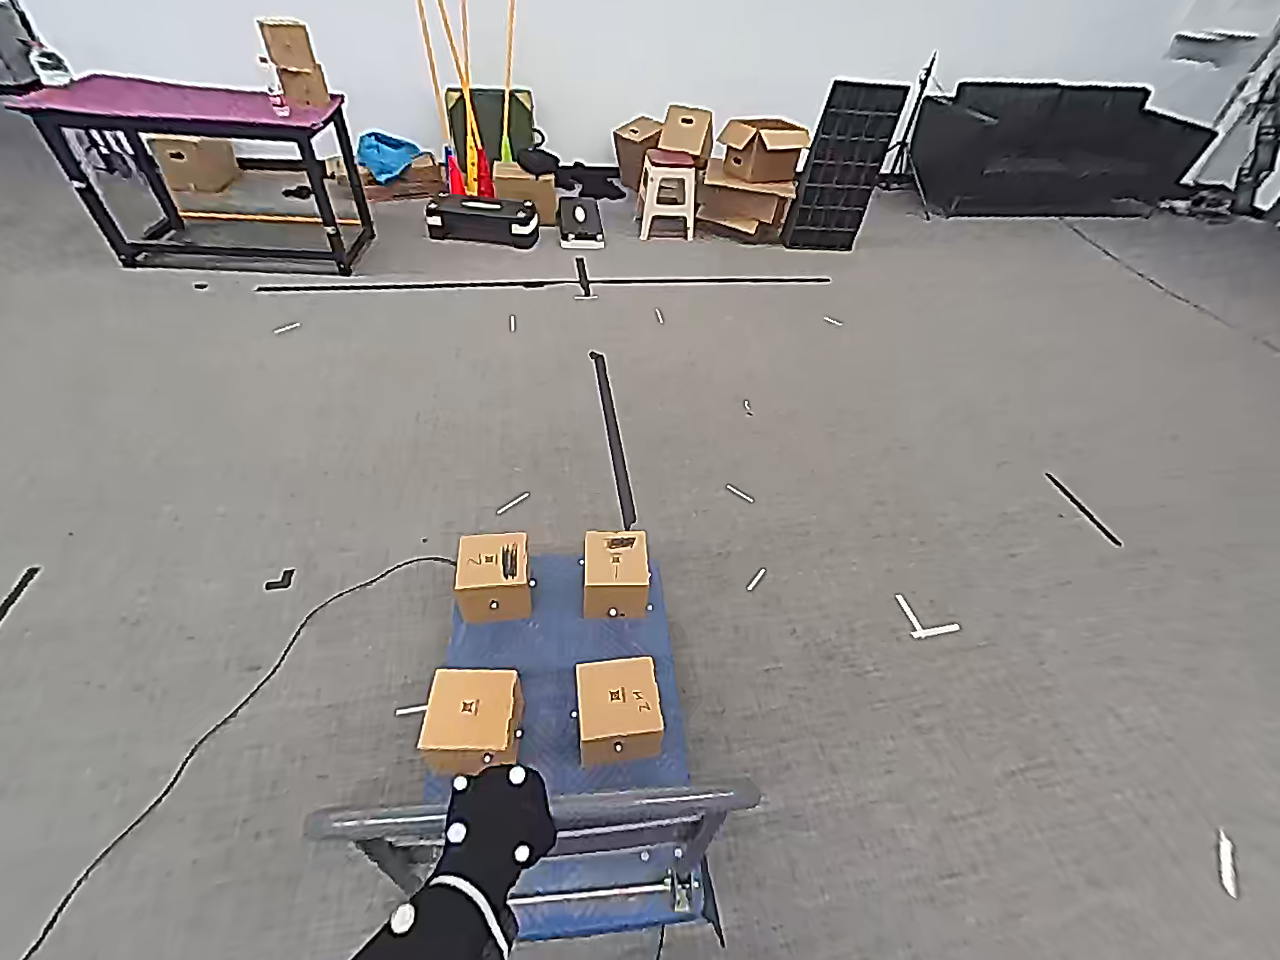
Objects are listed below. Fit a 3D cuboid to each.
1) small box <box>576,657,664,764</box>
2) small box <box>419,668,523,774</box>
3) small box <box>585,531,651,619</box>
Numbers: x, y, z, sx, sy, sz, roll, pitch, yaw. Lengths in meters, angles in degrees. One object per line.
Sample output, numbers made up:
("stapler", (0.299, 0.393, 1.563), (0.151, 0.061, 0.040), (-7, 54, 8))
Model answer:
("small box", (-0.050, 0.521, 1.216), (0.179, 0.176, 0.168), (-3, 46, -9))
("small box", (-0.357, 0.527, 1.177), (0.179, 0.176, 0.168), (3, 45, -5))
("small box", (-0.064, 0.258, 1.472), (0.168, 0.176, 0.179), (1, 47, -5))
